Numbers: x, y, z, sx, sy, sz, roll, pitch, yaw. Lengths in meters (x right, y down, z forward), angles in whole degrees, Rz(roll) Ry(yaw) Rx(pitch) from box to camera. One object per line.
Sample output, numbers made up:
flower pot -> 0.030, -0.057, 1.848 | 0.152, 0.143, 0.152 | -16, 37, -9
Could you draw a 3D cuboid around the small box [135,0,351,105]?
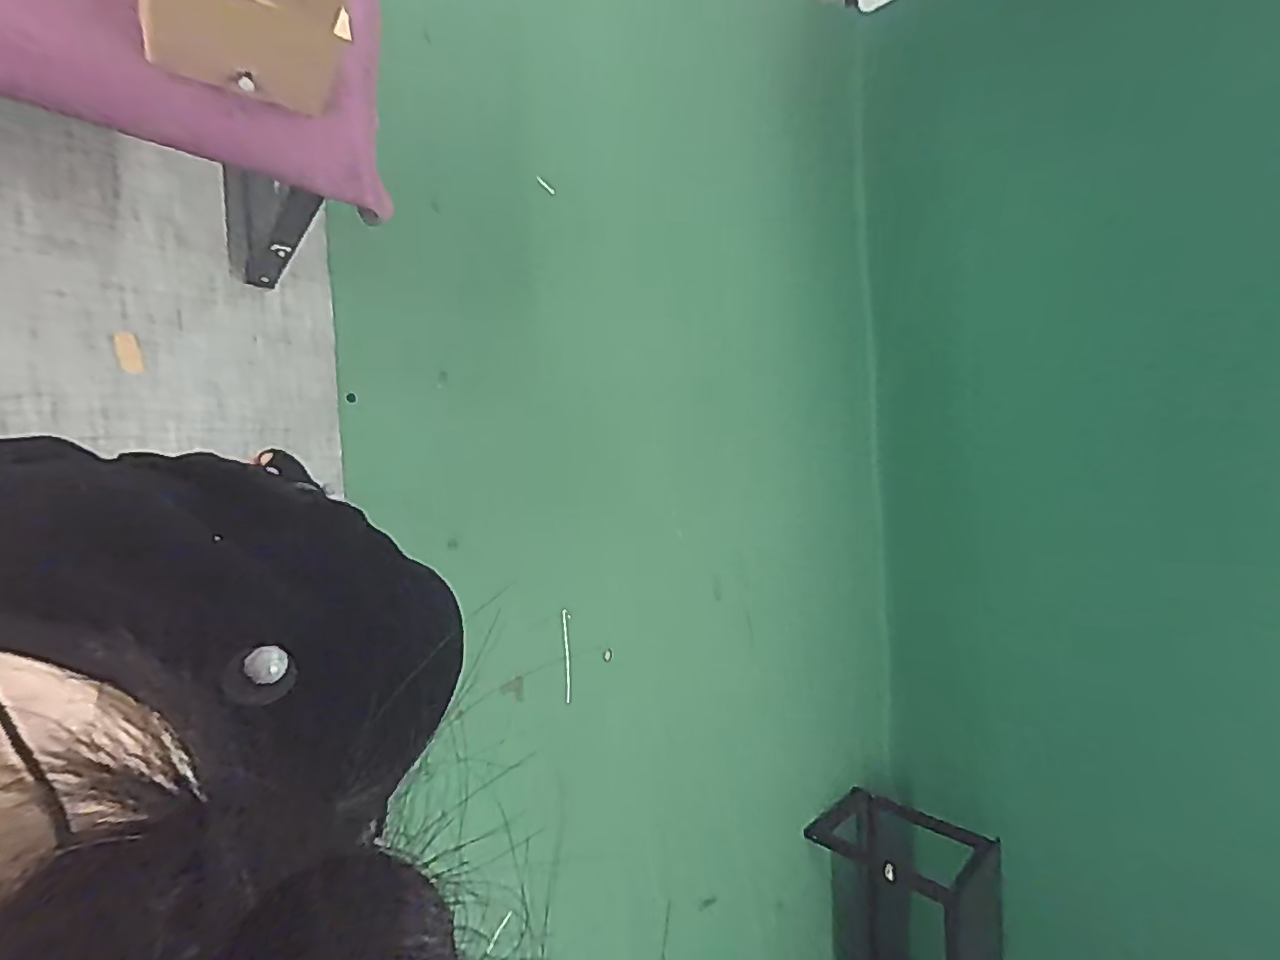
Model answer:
small box -> -0.451, -0.567, 0.608 | 0.179, 0.176, 0.168 | -8, 93, -42
